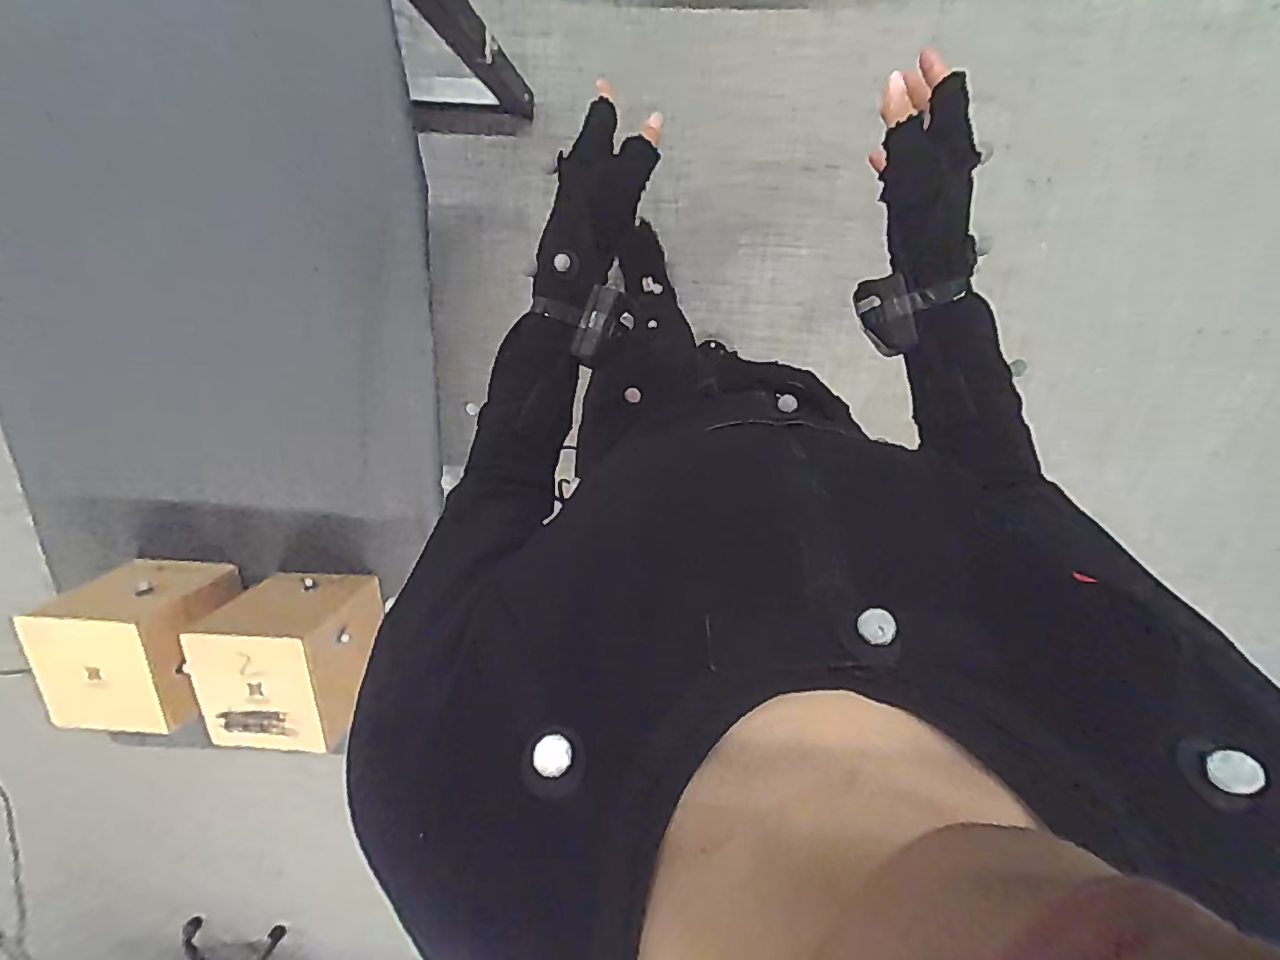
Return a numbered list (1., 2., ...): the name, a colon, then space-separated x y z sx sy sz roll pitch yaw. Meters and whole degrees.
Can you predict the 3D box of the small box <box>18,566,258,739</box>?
1. small box: -0.697 0.236 0.776 0.168 0.176 0.179 2 109 3
